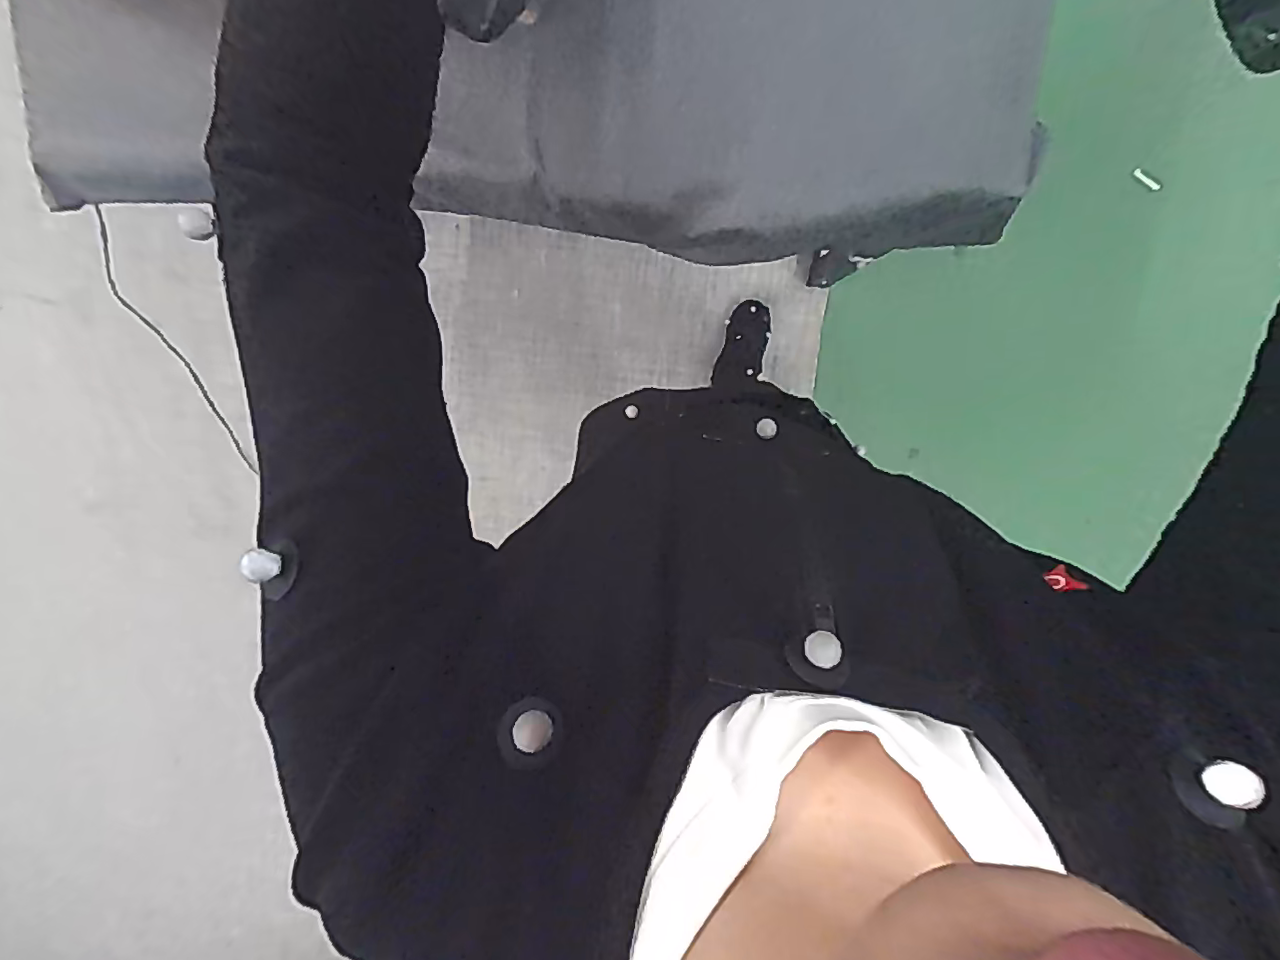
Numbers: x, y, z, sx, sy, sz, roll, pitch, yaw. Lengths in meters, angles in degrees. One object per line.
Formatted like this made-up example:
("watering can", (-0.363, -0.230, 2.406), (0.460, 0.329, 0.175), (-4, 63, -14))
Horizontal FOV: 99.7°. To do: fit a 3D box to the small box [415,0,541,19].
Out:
("small box", (-0.190, -0.607, 0.535), (0.168, 0.176, 0.179), (6, 101, 1))
